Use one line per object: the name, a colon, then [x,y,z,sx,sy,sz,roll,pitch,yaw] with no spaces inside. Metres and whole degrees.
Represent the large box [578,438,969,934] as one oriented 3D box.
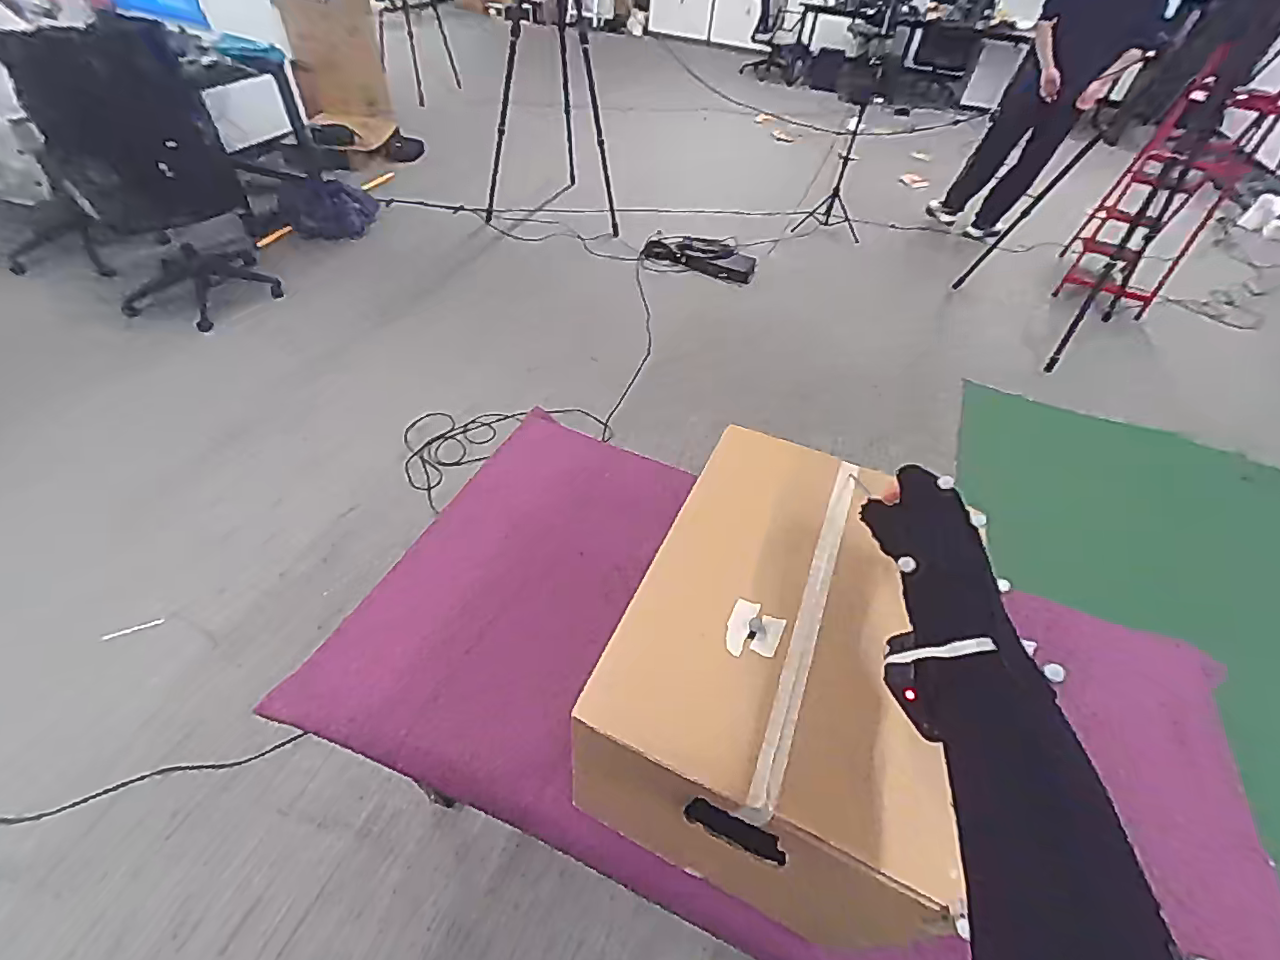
large box: [0.153,0.226,0.650,0.320,0.320,0.408,22,49,13]
